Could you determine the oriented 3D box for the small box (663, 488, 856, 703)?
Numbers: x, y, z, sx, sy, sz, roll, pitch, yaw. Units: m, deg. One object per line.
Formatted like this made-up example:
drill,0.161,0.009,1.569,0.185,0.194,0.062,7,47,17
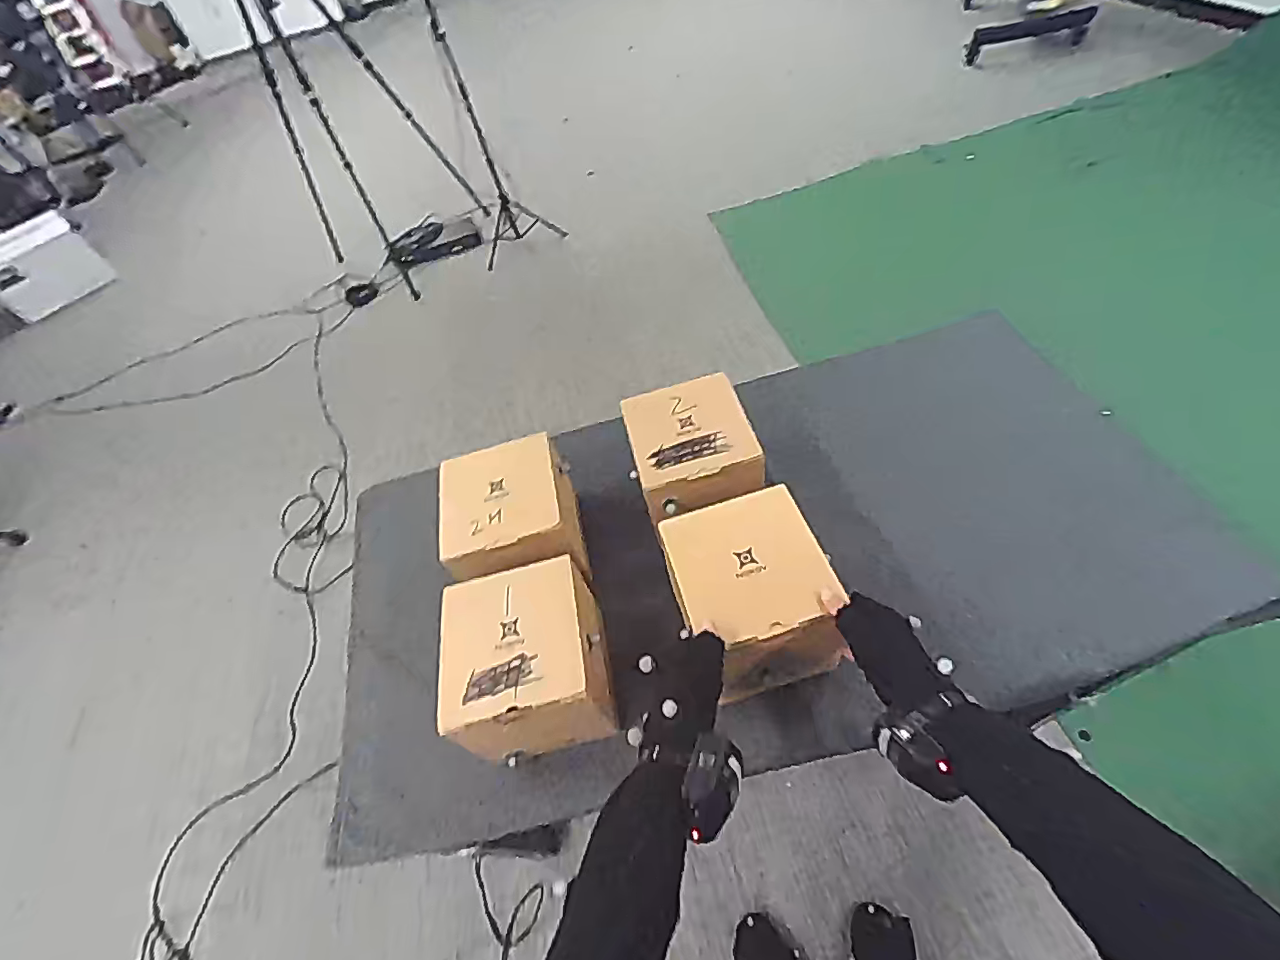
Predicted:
small box,0.137,0.144,0.663,0.168,0.176,0.179,-18,50,-2
